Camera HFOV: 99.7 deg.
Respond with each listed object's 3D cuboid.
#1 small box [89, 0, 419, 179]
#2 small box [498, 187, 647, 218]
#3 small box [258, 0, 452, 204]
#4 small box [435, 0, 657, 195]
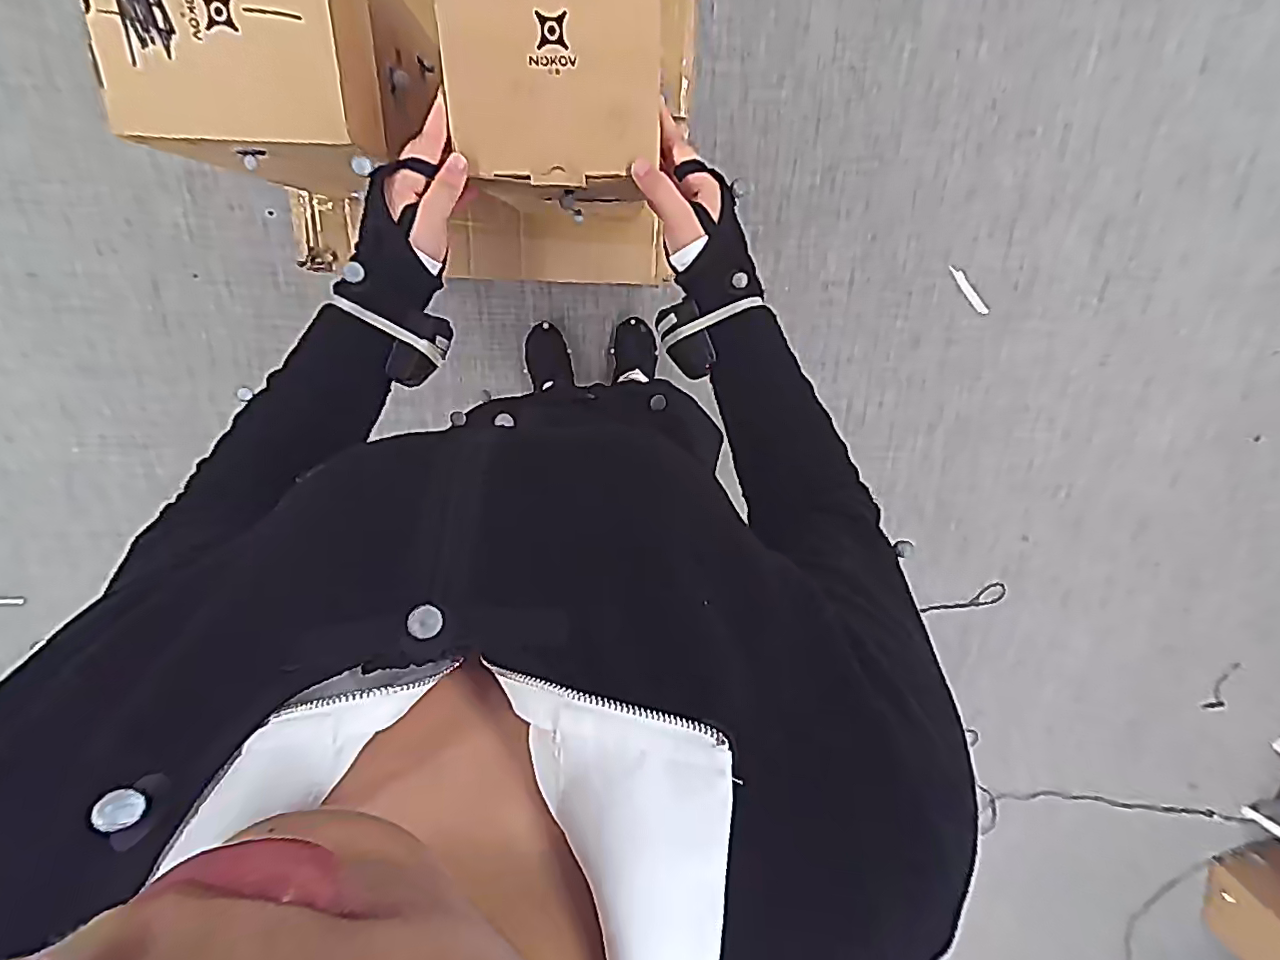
[{"bbox_3d":[-0.314,-0.369,0.468,0.179,0.176,0.168,0,110,-4],"label":"small box"},{"bbox_3d":[-0.073,-0.417,0.636,0.168,0.176,0.179,1,111,-2],"label":"small box"},{"bbox_3d":[-0.325,-0.428,0.621,0.168,0.176,0.179,1,111,-3],"label":"small box"},{"bbox_3d":[-0.069,-0.357,0.481,0.168,0.176,0.179,-1,113,-1],"label":"small box"}]
